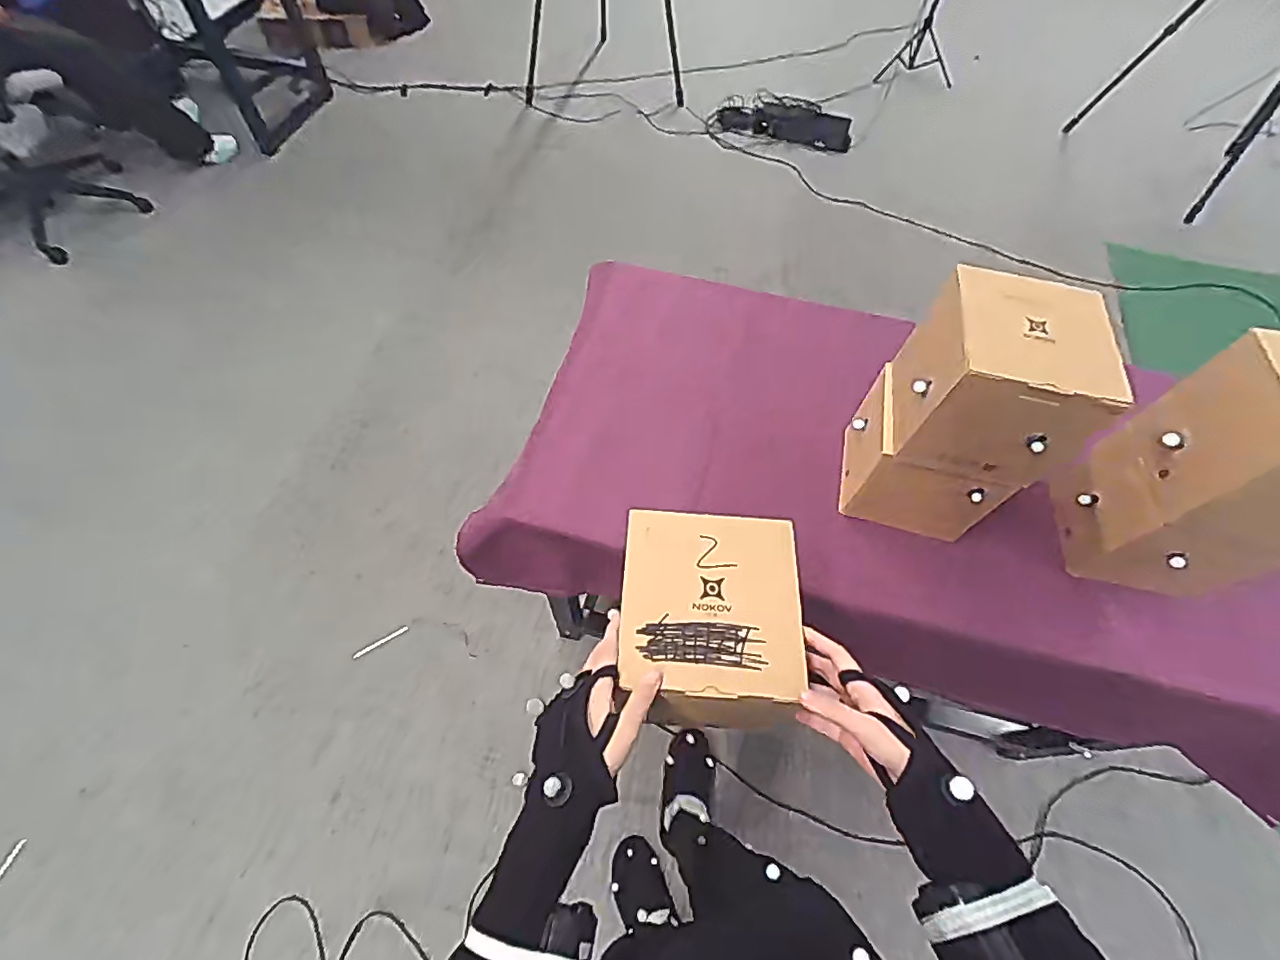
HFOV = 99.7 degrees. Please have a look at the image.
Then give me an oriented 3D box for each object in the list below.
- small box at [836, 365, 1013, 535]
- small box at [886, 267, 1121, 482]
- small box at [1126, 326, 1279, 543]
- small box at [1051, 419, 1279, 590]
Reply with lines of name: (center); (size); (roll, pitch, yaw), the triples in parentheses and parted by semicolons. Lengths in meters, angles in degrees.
small box: (0.403, -0.038, 0.795); (0.179, 0.176, 0.168); (14, 59, 5)
small box: (0.416, -0.121, 0.656); (0.168, 0.176, 0.179); (13, 58, 4)
small box: (0.723, -0.043, 0.615); (0.179, 0.176, 0.168); (11, 58, 5)
small box: (0.718, 0.040, 0.757); (0.179, 0.176, 0.168); (10, 59, 5)
